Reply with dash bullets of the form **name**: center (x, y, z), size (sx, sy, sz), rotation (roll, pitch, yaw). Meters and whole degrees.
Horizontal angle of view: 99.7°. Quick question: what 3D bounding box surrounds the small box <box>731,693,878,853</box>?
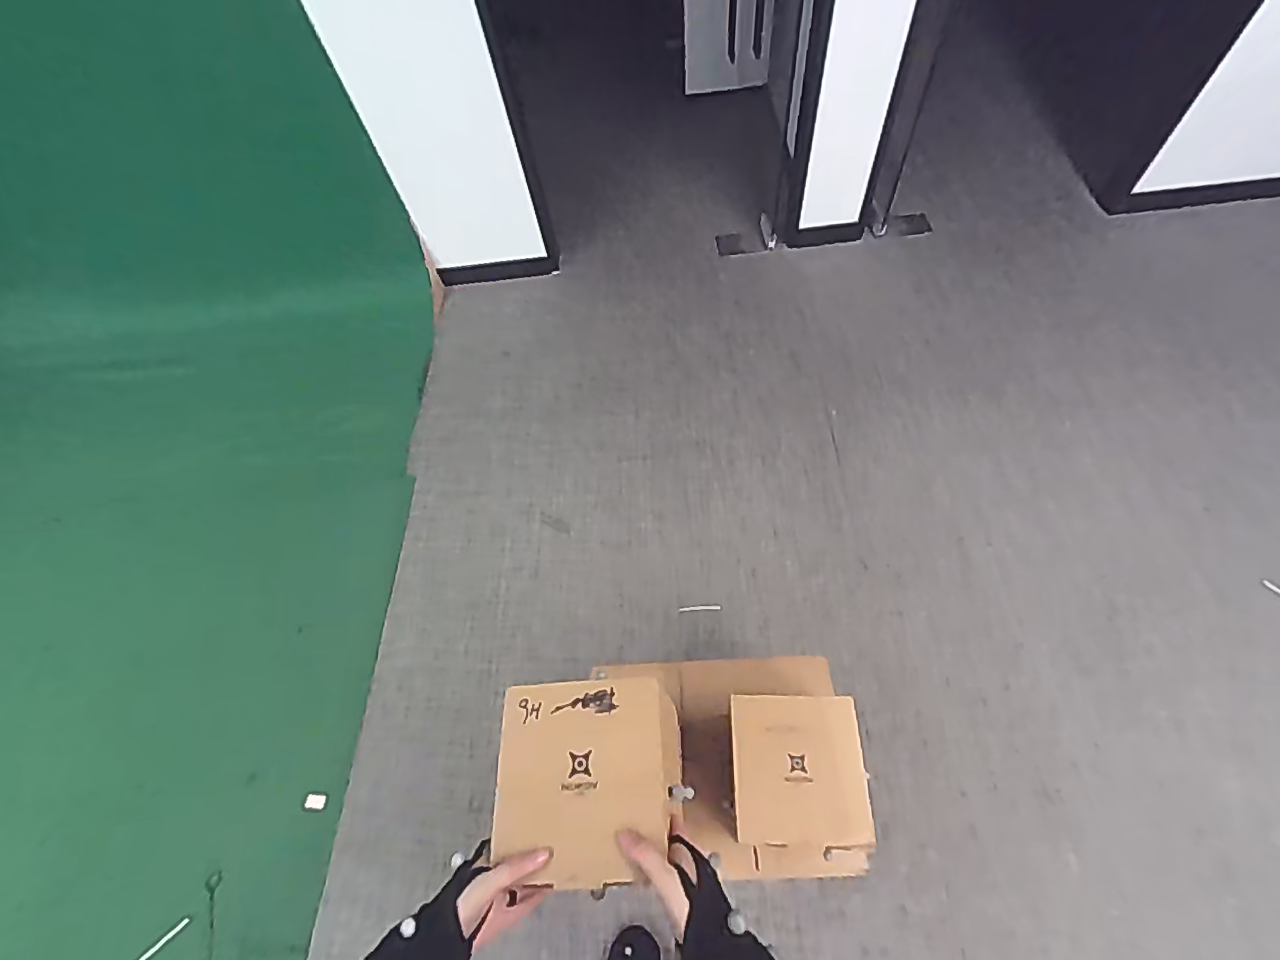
- **small box**: center (0.214, 0.407, 0.755), size (0.168, 0.176, 0.179), rotation (-2, 58, 7)

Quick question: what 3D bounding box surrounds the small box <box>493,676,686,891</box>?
- **small box**: center (-0.043, 0.325, 0.585), size (0.168, 0.176, 0.179), rotation (-7, 57, 6)
